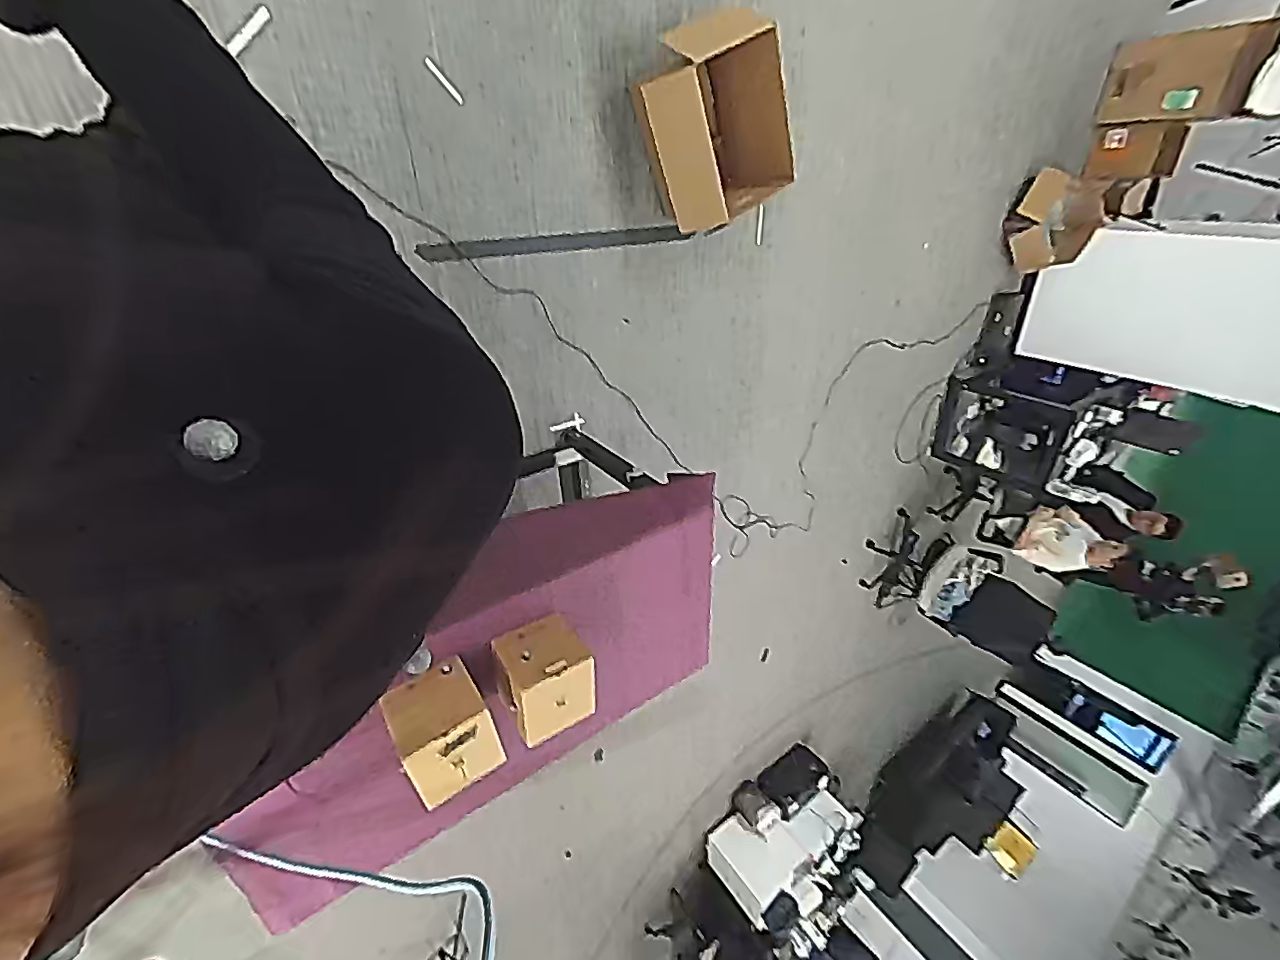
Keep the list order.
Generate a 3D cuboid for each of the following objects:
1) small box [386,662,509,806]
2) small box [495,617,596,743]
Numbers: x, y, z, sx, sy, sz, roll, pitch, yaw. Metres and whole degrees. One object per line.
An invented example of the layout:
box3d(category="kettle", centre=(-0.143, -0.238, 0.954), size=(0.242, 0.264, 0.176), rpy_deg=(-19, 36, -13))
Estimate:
box3d(category="small box", centre=(-0.388, 0.496, 1.088), size=(0.168, 0.176, 0.179), rpy_deg=(-25, 128, -27))
box3d(category="small box", centre=(-0.210, 0.431, 1.201), size=(0.168, 0.176, 0.179), rpy_deg=(-17, 124, -31))
